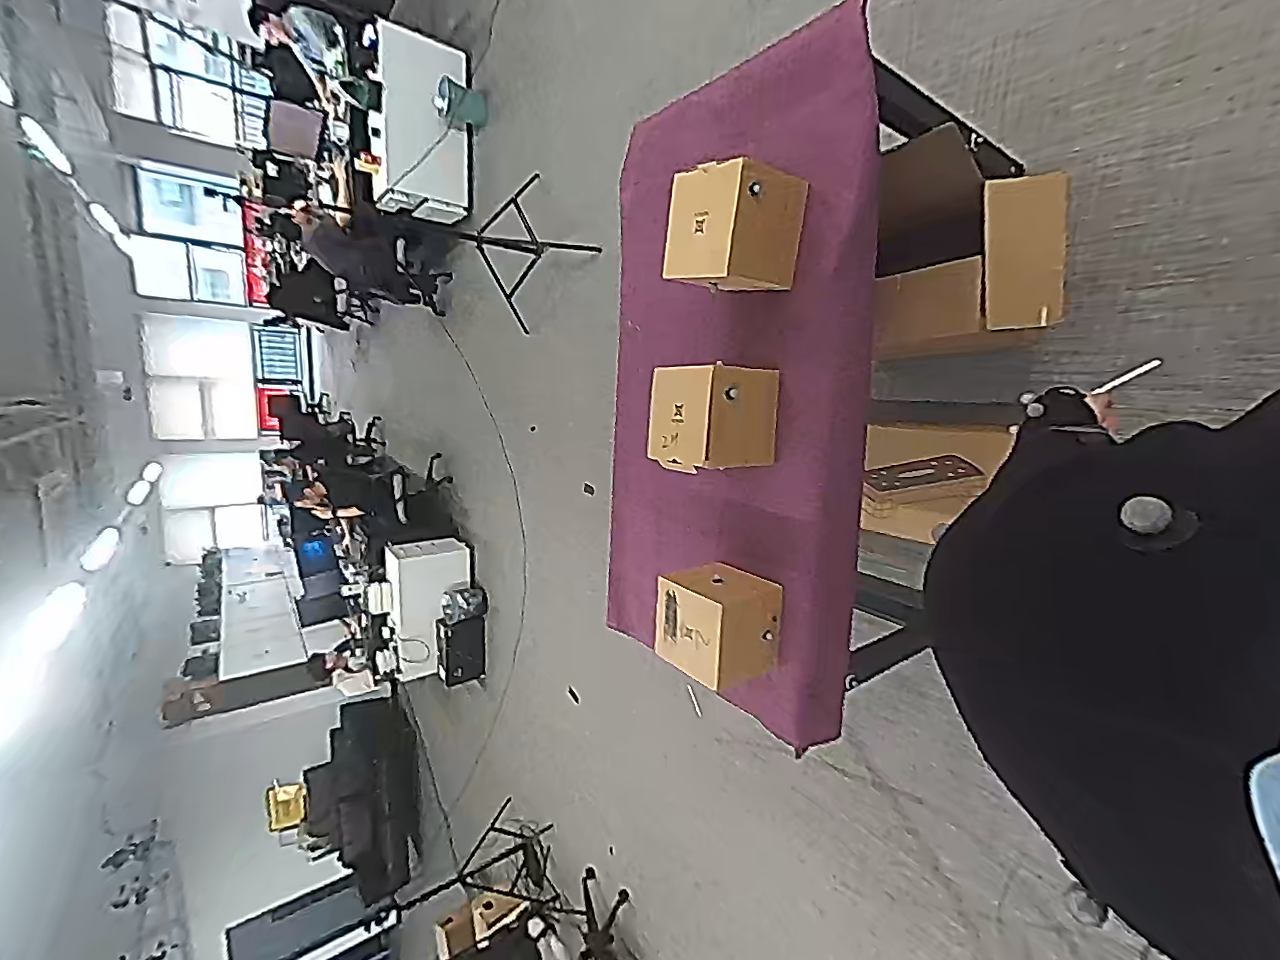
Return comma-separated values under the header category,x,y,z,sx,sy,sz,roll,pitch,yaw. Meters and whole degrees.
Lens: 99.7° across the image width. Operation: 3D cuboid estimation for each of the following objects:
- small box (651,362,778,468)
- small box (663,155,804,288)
category,x,y,z,sx,sy,sz,roll,pitch,yaw
small box,0.138,-0.122,1.007,0.168,0.176,0.179,14,105,54
small box,0.162,-0.433,0.939,0.168,0.176,0.179,24,113,50
